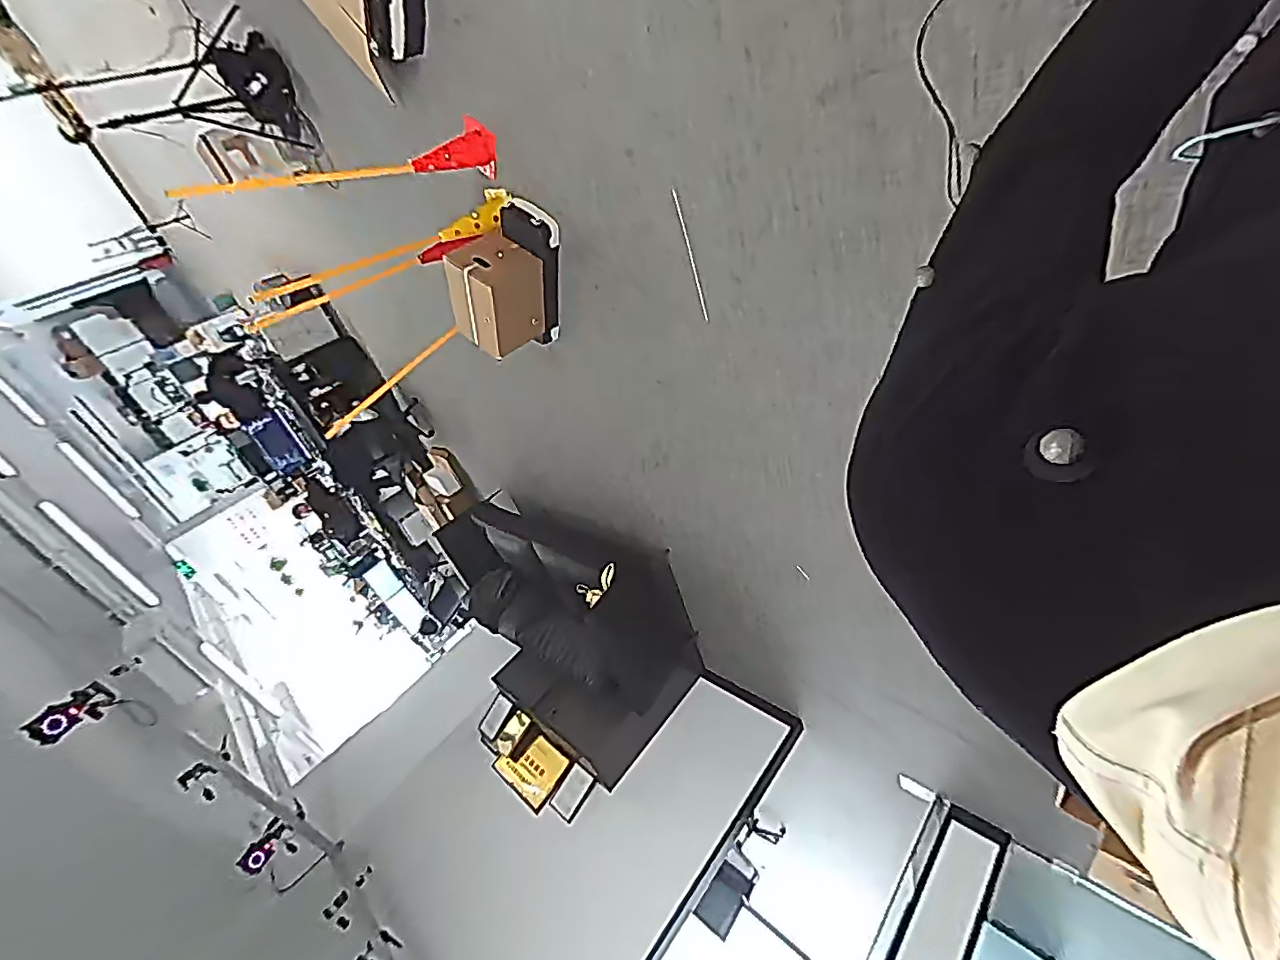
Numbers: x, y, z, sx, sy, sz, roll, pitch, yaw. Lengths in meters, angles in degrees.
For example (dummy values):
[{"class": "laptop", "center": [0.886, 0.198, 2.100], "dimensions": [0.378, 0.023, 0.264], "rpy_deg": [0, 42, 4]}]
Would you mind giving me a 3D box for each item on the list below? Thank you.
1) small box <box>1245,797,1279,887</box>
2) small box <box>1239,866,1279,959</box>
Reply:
[{"class": "small box", "center": [1.517, 0.863, 1.211], "dimensions": [0.179, 0.176, 0.168], "rpy_deg": [17, 137, 45]}, {"class": "small box", "center": [1.408, 0.955, 1.129], "dimensions": [0.179, 0.176, 0.168], "rpy_deg": [15, 135, 45]}]
